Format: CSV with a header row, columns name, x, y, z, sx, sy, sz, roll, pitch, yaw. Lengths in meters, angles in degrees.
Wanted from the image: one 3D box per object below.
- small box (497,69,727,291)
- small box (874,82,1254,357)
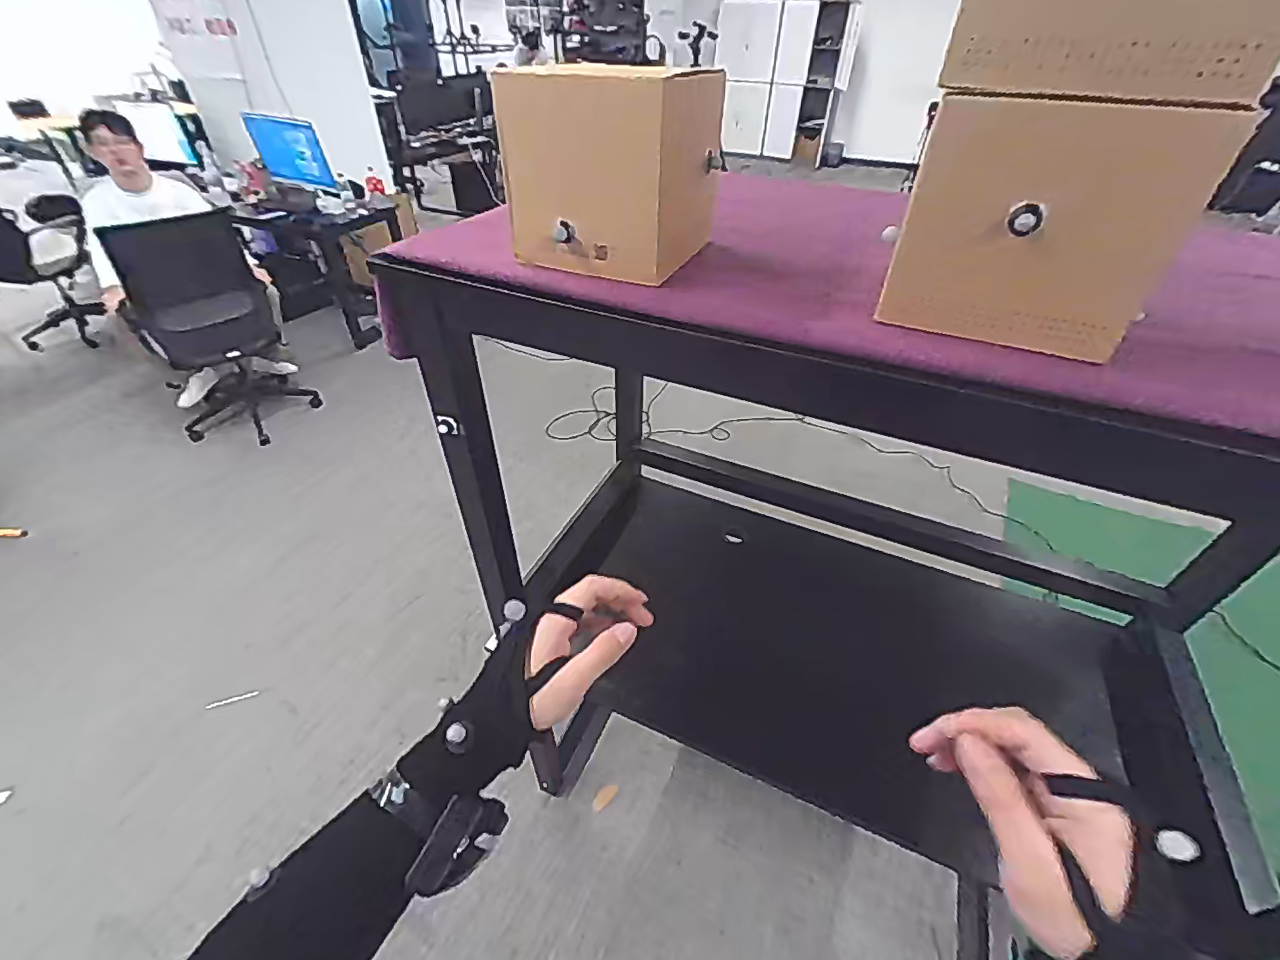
name,x,y,z,sx,sy,sz,roll,pitch,yaw
small box,-0.022,-0.315,0.560,0.168,0.176,0.179,16,42,18
small box,0.318,-0.219,0.449,0.179,0.176,0.168,17,42,21
